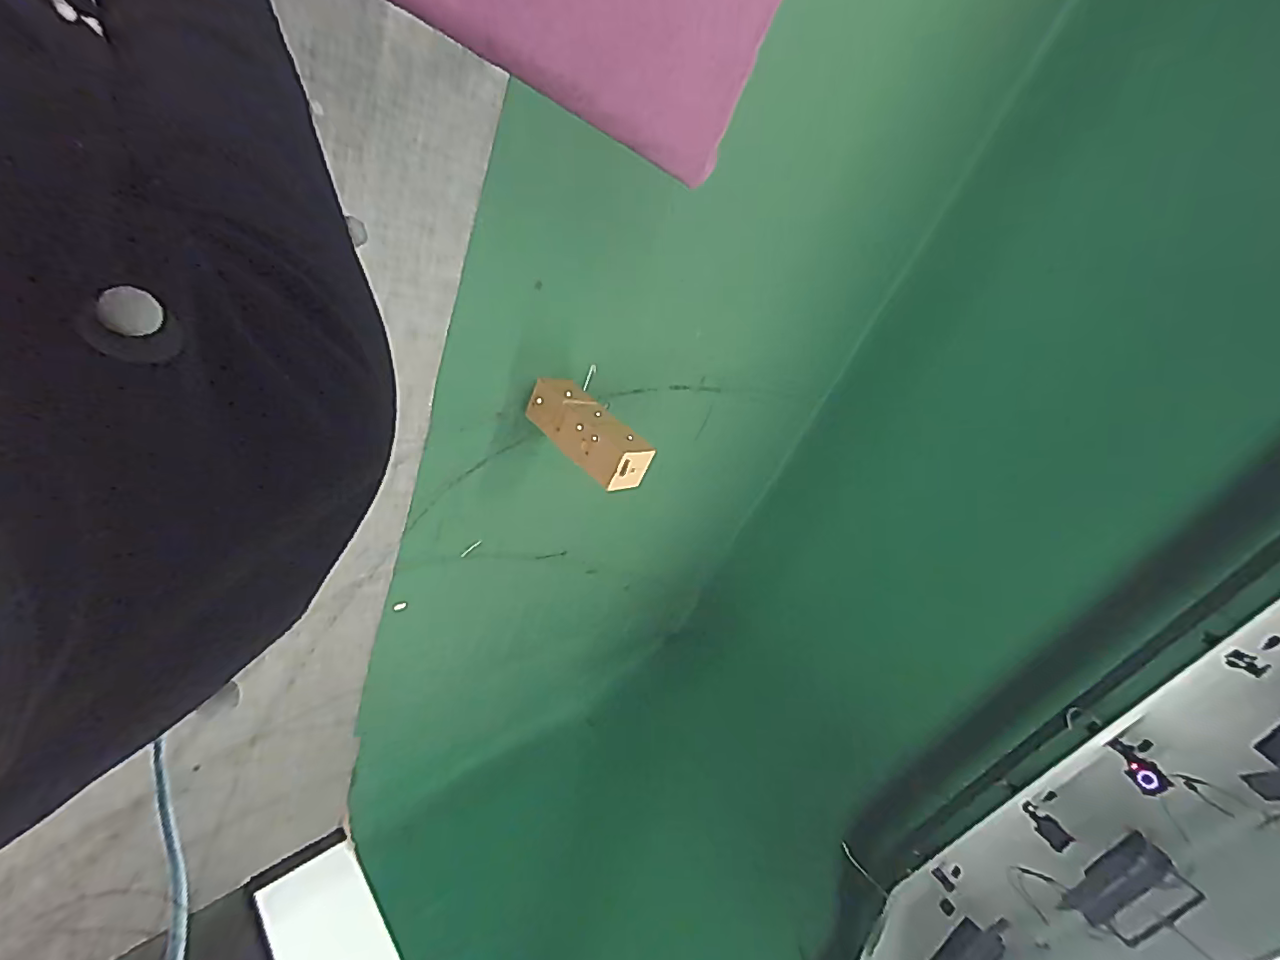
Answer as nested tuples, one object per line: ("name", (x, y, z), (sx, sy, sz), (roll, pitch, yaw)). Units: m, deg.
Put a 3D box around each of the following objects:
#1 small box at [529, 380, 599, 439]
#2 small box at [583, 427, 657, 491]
("small box", (-0.298, -0.274, 2.093), (0.179, 0.176, 0.168), (-6, 131, -49))
("small box", (-0.076, -0.081, 1.944), (0.179, 0.176, 0.168), (-8, 133, -50))
